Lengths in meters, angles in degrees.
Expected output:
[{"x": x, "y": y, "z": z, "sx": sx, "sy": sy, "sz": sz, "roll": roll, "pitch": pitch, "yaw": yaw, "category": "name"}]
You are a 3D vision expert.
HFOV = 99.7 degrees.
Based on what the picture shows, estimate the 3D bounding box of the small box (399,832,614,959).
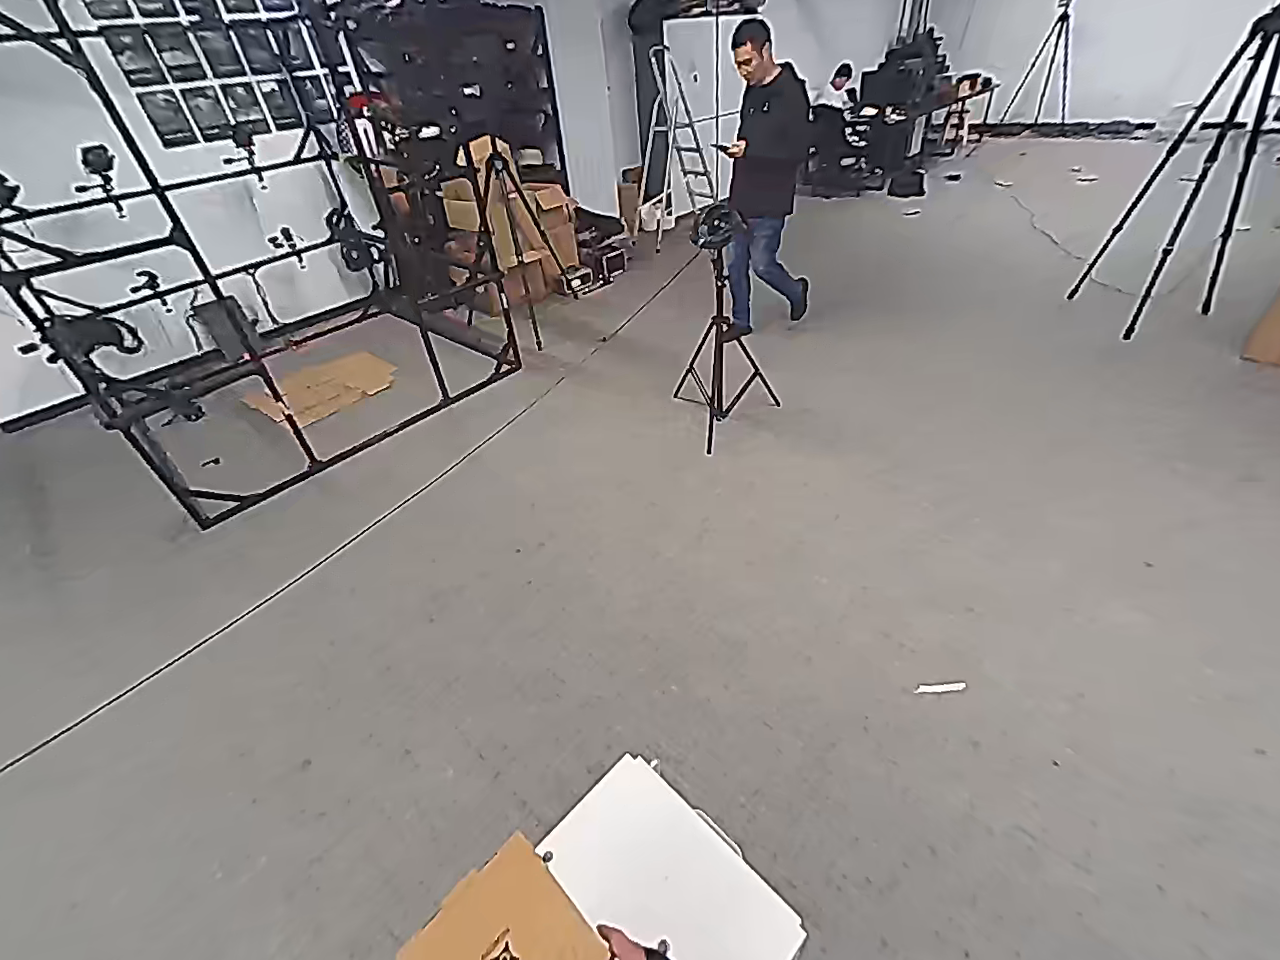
[{"x": -0.138, "y": 0.566, "z": 0.625, "sx": 0.179, "sy": 0.176, "sz": 0.168, "roll": 28, "pitch": 49, "yaw": 37, "category": "small box"}]
